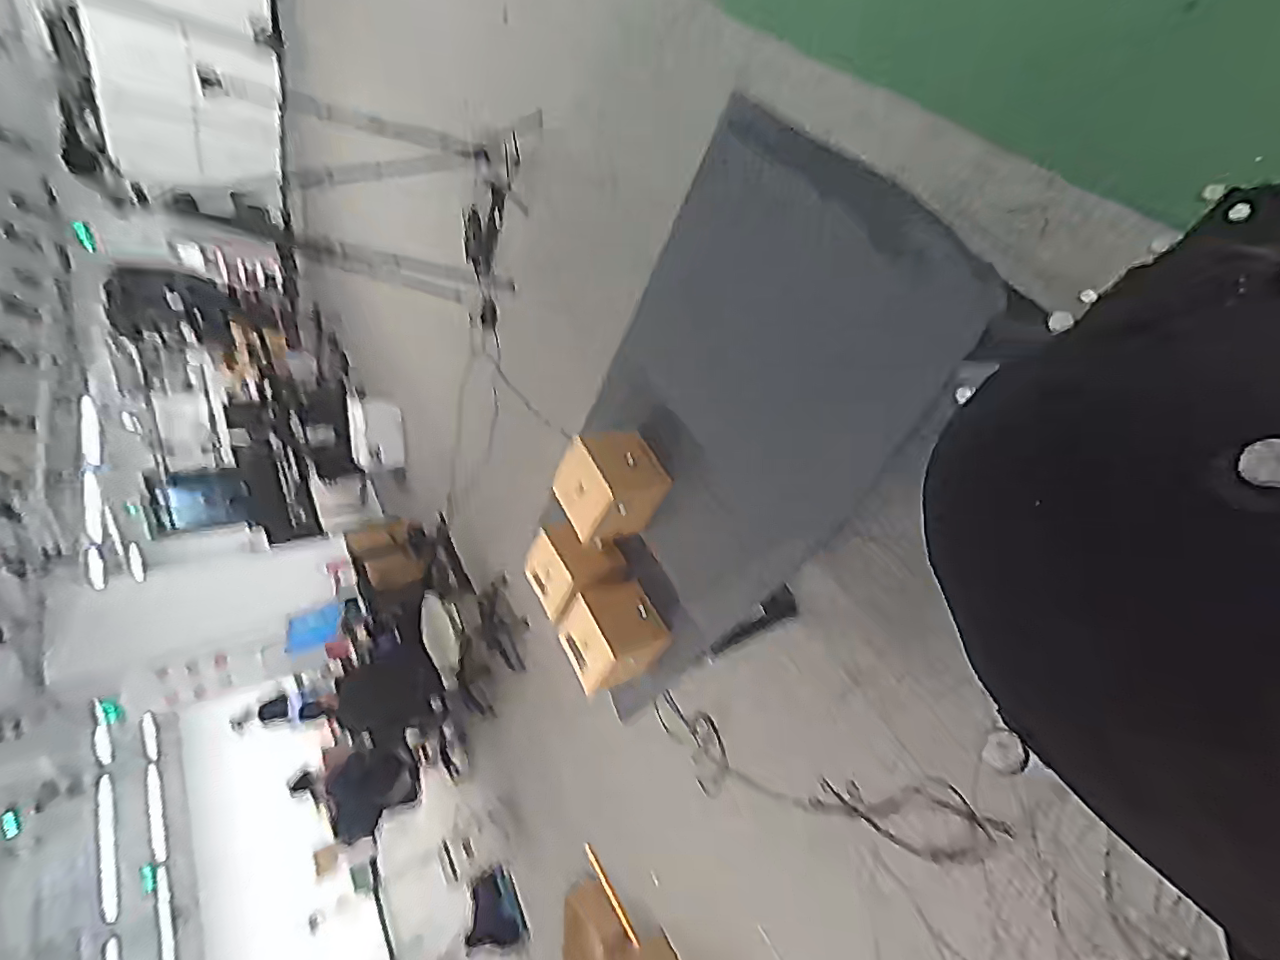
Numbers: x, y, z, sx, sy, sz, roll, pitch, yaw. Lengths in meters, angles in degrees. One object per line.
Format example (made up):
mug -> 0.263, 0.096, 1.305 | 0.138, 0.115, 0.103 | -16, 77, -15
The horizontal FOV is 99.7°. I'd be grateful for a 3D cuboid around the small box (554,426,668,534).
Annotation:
small box -> -0.061, -0.007, 1.214 | 0.168, 0.176, 0.179 | 58, 136, 26
